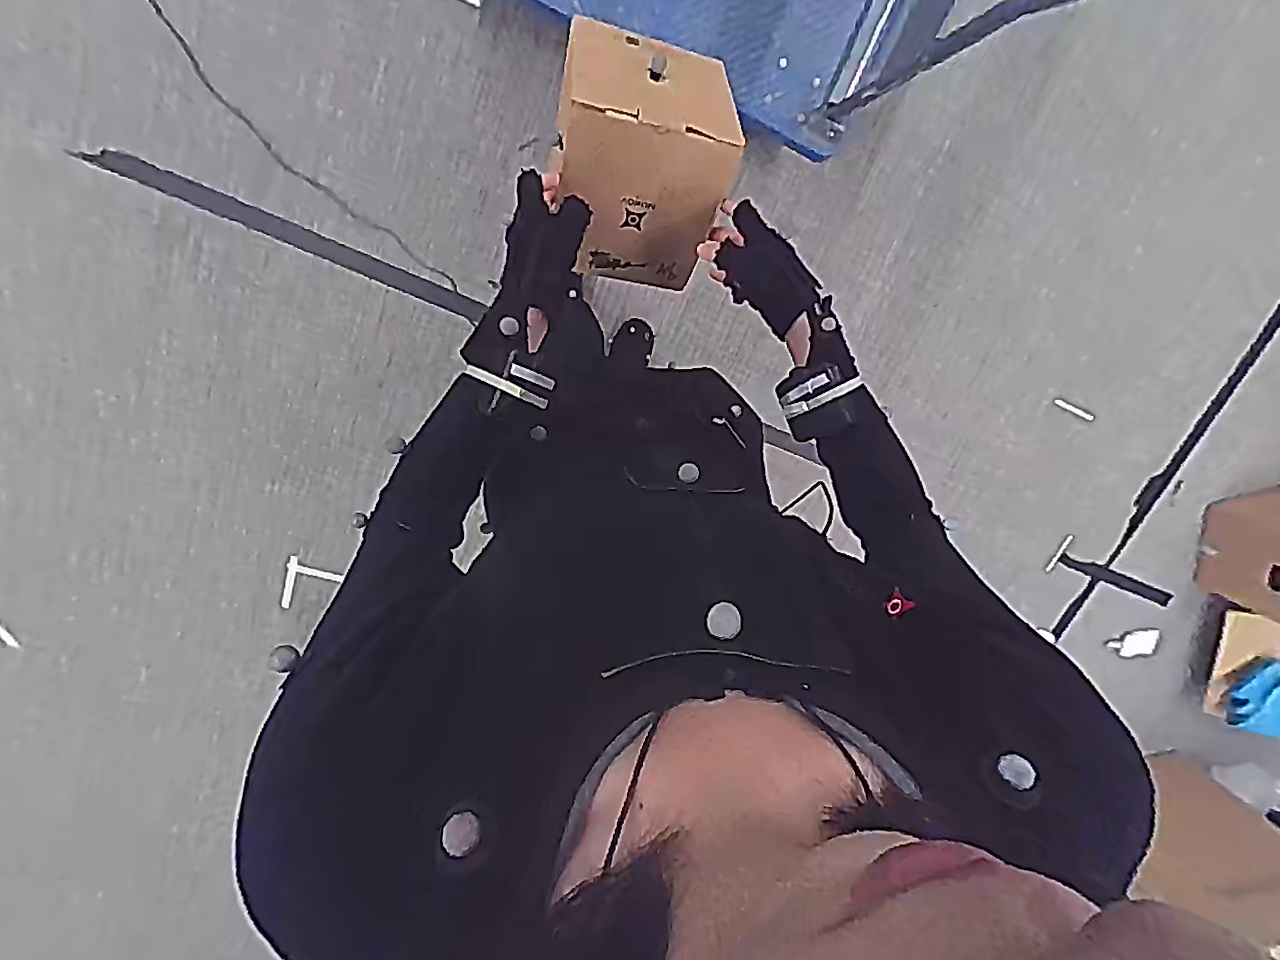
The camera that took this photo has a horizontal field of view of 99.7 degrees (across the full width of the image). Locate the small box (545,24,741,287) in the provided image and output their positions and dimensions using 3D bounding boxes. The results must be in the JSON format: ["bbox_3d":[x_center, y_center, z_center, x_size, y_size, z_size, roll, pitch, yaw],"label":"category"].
[{"bbox_3d":[-0.012,-0.349,0.591,0.168,0.176,0.179,5,147,-15],"label":"small box"}]
